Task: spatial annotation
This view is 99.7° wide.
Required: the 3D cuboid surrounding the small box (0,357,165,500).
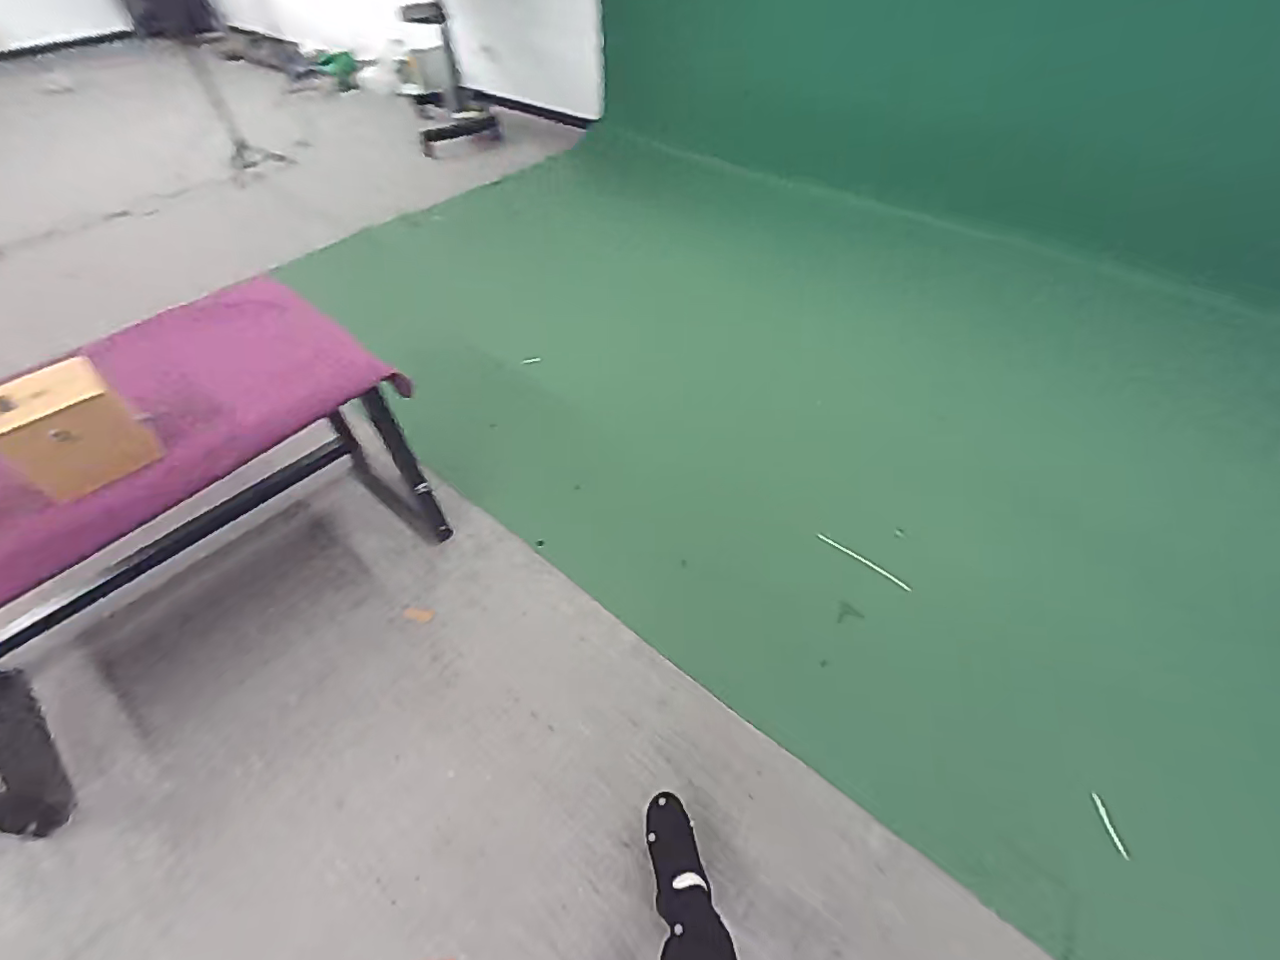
[{"bbox_3d":[-1.061,-0.095,1.016,0.168,0.176,0.179,36,58,28],"label":"small box"}]
